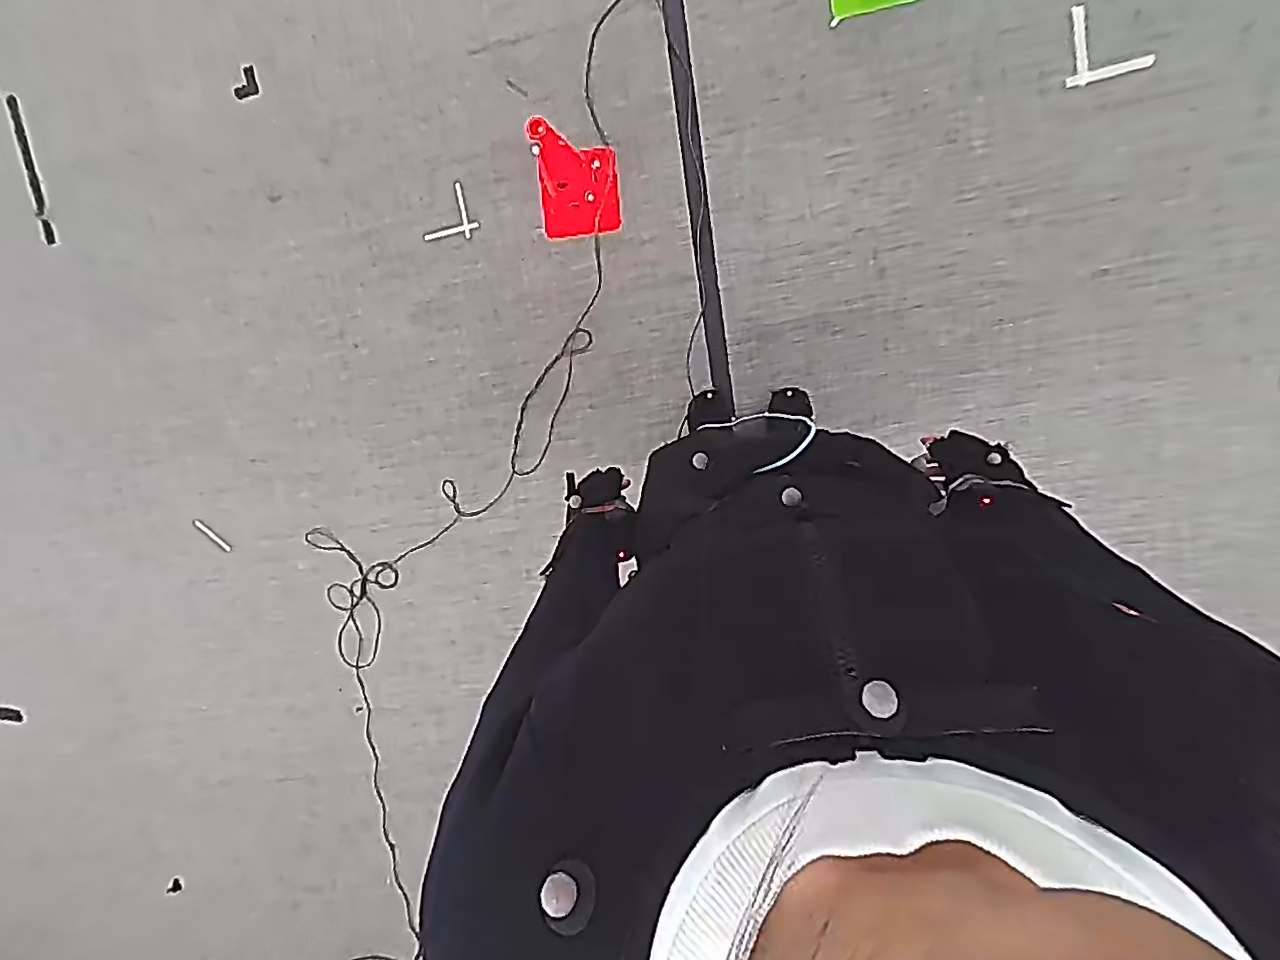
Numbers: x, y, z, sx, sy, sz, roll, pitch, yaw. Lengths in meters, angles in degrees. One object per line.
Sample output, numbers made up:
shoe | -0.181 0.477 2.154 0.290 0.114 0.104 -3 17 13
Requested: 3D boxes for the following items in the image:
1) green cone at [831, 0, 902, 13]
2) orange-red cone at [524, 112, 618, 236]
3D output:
green cone | 0.495 -1.121 1.018 0.202 0.368 0.200 -8 99 8
orange-red cone | -0.178 -0.693 1.182 0.199 0.360 0.198 -3 98 9
